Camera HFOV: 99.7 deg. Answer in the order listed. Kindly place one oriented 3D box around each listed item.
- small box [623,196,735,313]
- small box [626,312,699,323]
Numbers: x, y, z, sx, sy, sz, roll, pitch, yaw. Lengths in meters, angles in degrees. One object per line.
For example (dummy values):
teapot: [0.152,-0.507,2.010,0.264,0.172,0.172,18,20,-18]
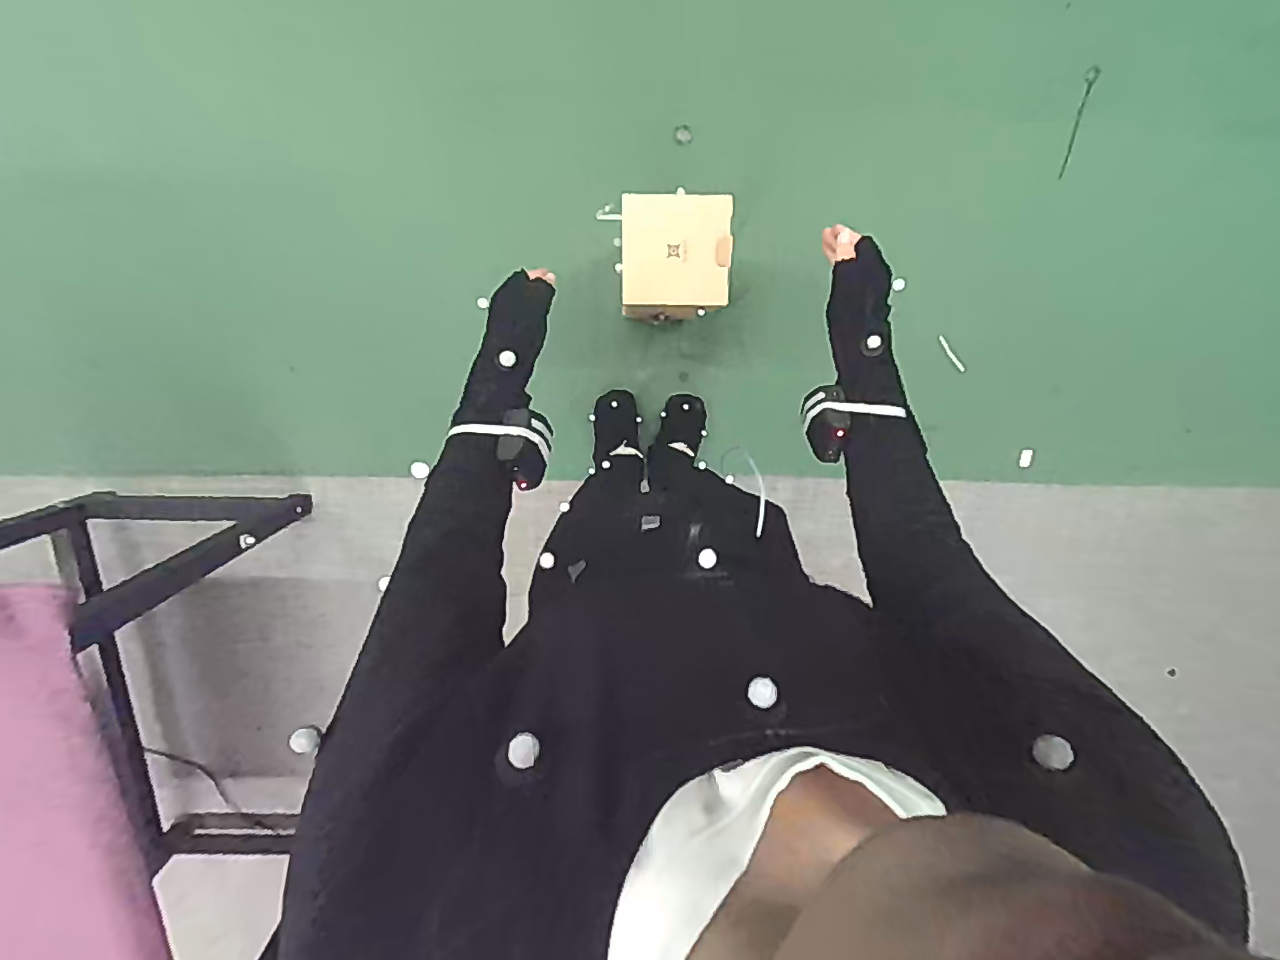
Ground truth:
small box: [0.059,-0.379,0.936,0.179,0.176,0.168,0,105,-2]
small box: [0.051,-0.460,1.252,0.168,0.176,0.179,1,105,-1]
